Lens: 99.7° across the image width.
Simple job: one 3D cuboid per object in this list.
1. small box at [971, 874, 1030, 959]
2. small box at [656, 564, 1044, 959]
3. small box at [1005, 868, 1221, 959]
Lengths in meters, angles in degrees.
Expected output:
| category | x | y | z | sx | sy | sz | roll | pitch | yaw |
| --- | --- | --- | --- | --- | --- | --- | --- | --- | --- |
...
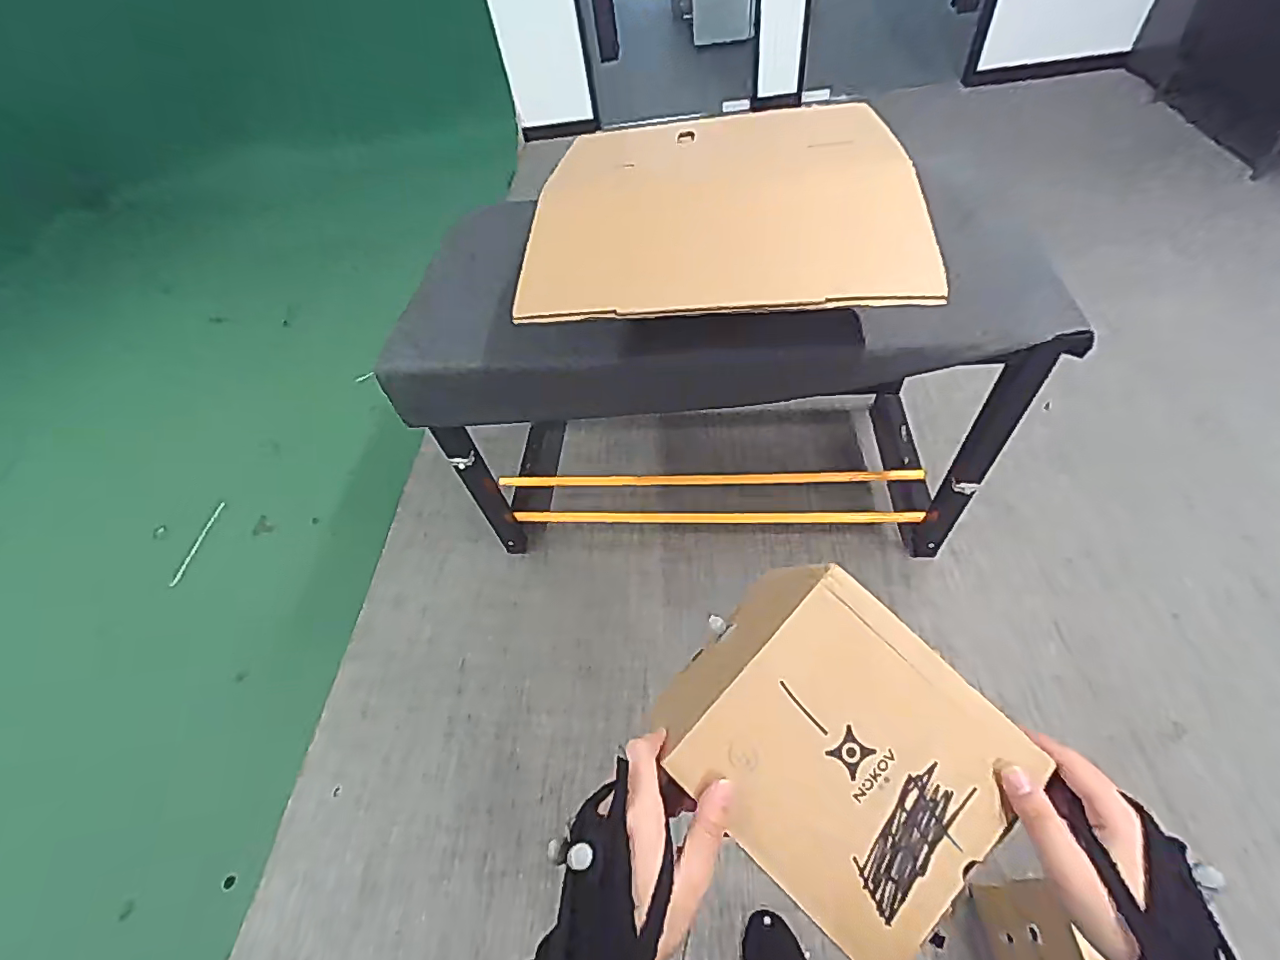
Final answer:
| category | x | y | z | sx | sy | sz | roll | pitch | yaw |
| --- | --- | --- | --- | --- | --- | --- | --- | --- | --- |
| small box | 0.696 | 0.773 | 0.909 | 0.168 | 0.176 | 0.179 | -5 | 52 | 5 |
| small box | 0.129 | 0.179 | 0.405 | 0.179 | 0.176 | 0.168 | 43 | 82 | 7 |
| small box | 0.682 | 0.667 | 0.785 | 0.179 | 0.176 | 0.168 | -6 | 52 | 5 |
